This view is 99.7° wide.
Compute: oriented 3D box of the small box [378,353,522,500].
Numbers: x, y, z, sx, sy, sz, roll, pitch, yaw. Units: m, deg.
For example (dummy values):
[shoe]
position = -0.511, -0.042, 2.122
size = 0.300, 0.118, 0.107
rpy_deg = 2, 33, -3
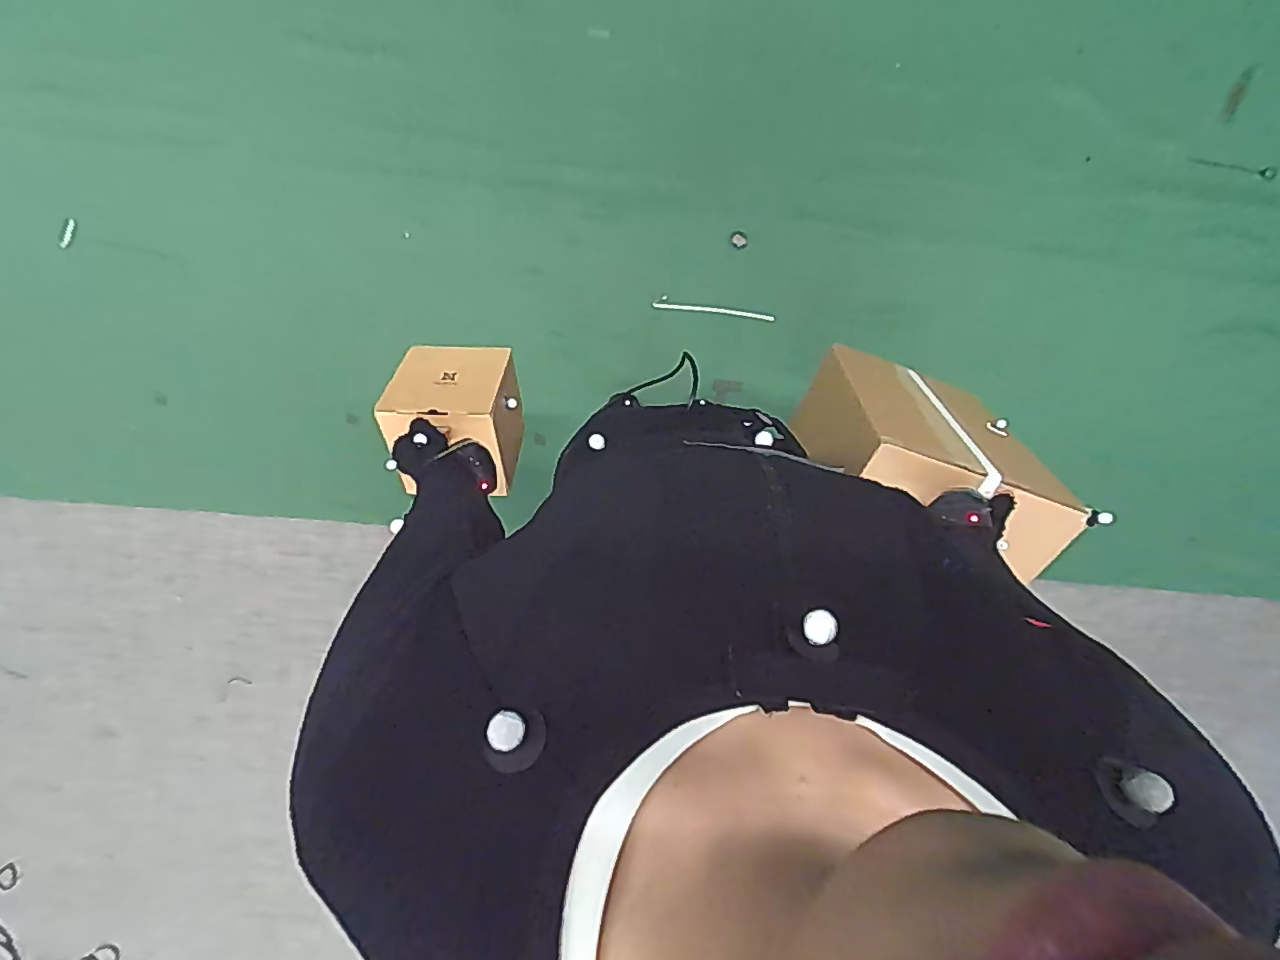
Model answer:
[small box]
position = -0.292, -0.088, 0.881
size = 0.168, 0.179, 0.176
rpy_deg = 0, 135, 0
